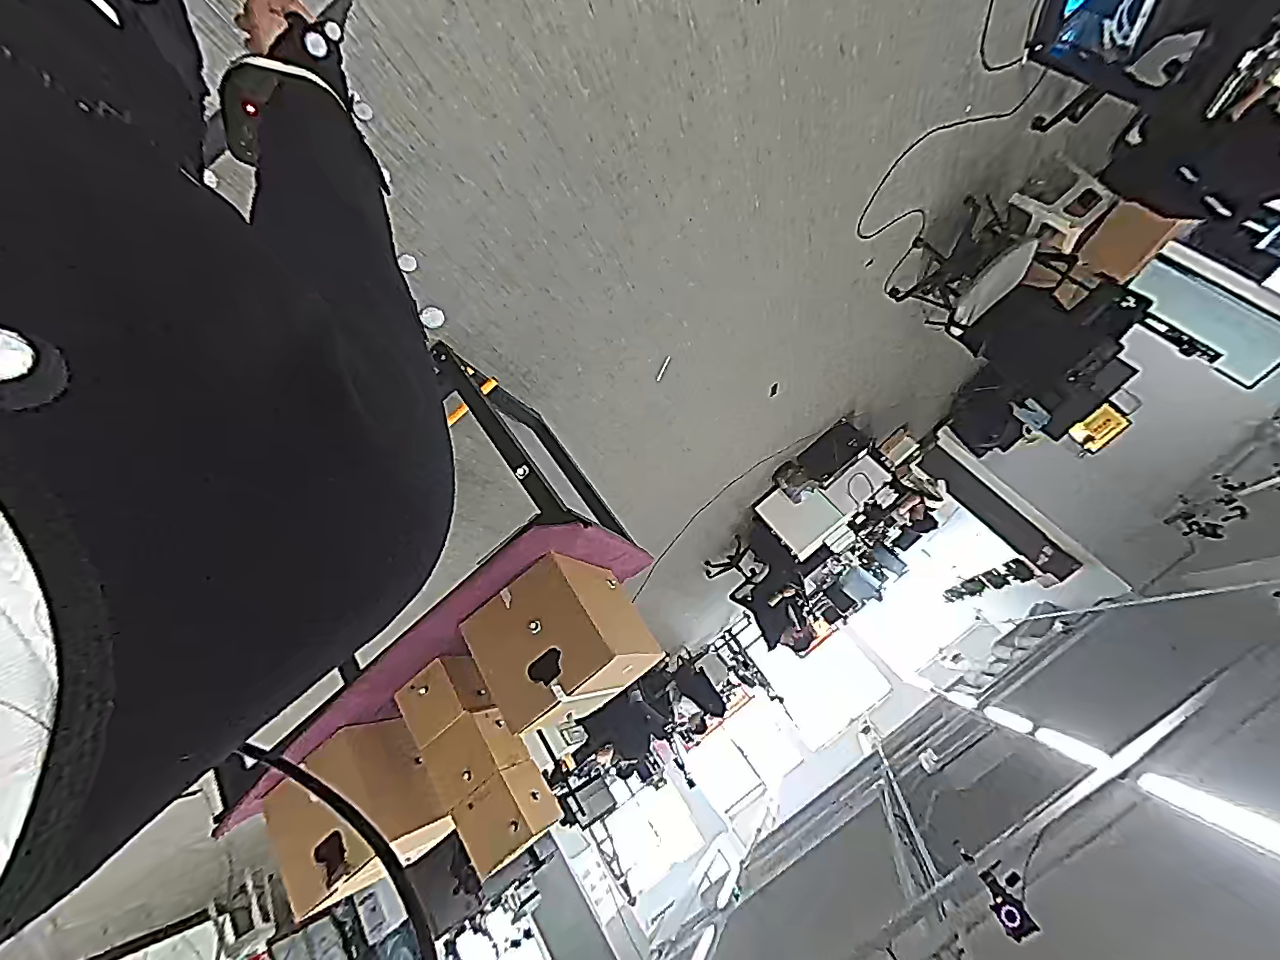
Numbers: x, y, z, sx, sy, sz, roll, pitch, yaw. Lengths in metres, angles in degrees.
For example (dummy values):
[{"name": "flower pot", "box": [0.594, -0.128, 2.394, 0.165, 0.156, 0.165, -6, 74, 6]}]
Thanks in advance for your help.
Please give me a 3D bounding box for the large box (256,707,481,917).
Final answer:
[{"name": "large box", "box": [-0.737, 0.877, 1.502, 0.320, 0.320, 0.408, -40, 157, 4]}]
